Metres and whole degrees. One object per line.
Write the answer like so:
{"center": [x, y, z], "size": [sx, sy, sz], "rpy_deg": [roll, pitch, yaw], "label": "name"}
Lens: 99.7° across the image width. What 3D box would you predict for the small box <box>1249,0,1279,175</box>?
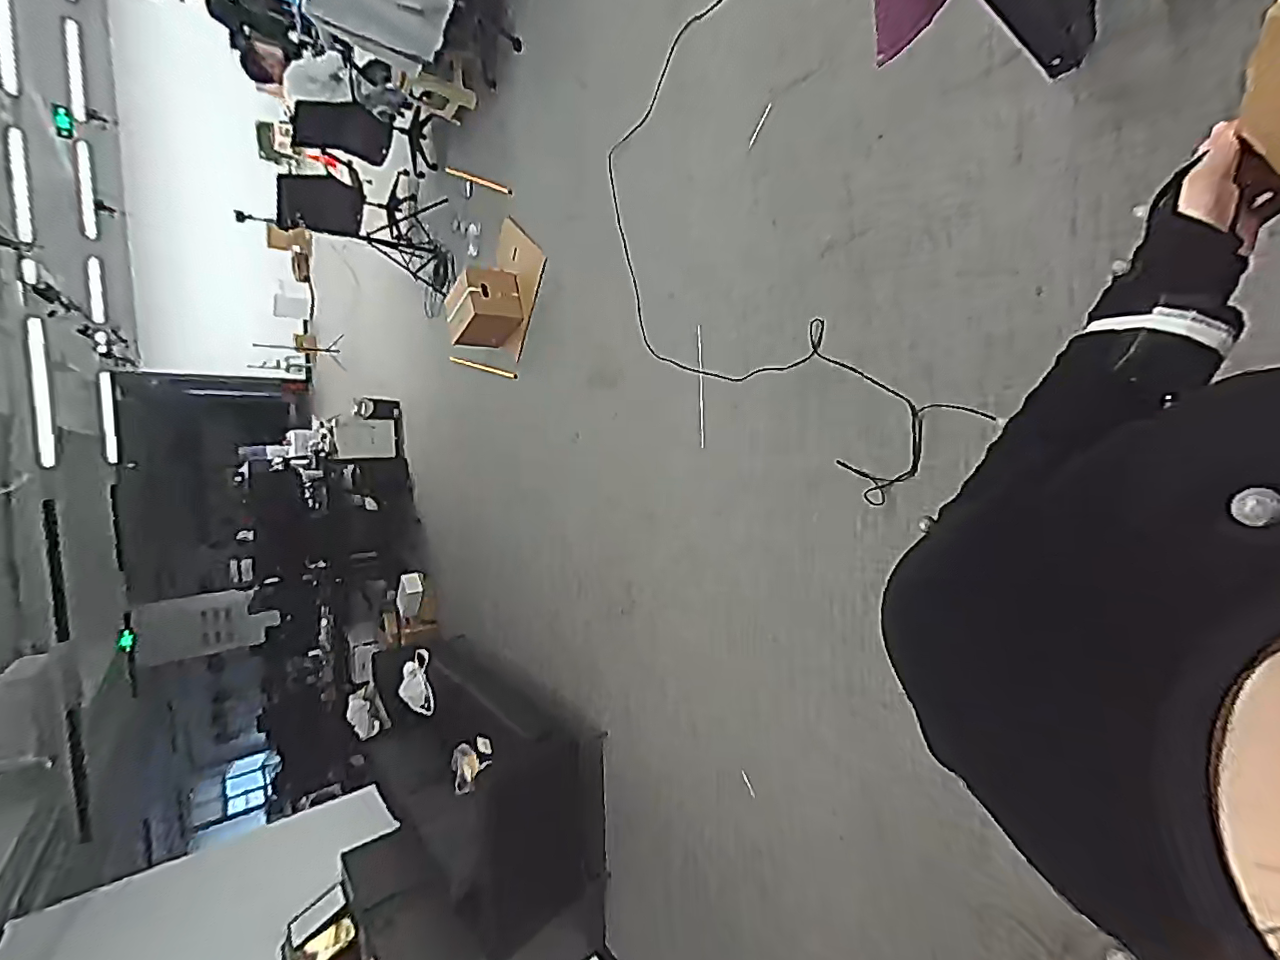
{"center": [0.482, -0.242, 0.277], "size": [0.179, 0.176, 0.168], "rpy_deg": [-43, 58, 30], "label": "small box"}
